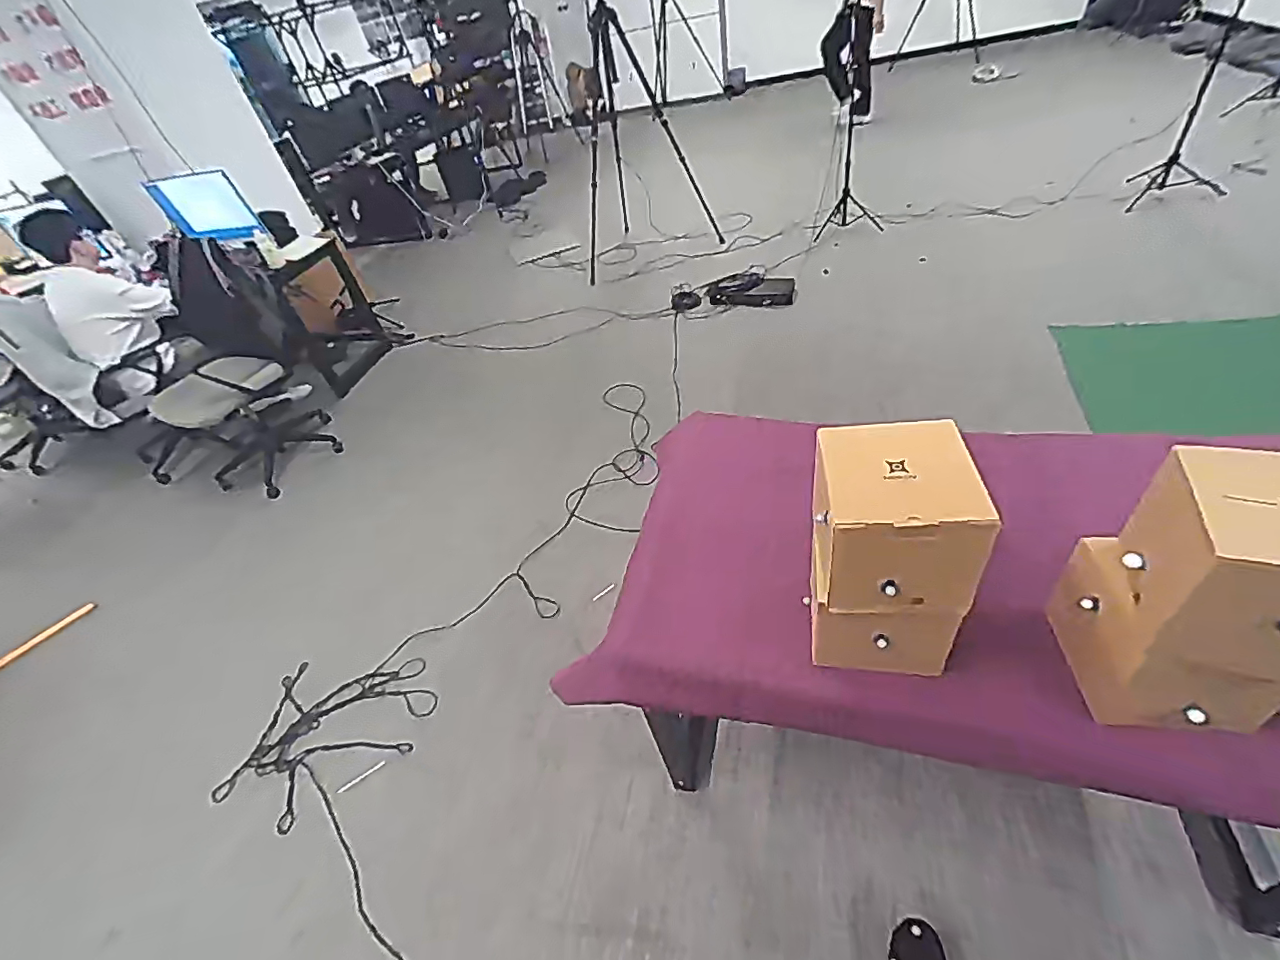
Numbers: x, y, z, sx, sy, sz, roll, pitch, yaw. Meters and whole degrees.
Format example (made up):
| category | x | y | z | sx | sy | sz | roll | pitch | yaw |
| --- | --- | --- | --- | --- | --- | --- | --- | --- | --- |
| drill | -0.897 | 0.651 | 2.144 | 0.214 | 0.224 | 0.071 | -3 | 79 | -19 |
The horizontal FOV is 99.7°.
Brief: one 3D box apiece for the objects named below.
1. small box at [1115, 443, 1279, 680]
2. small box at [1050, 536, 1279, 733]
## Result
| category | x | y | z | sx | sy | sz | roll | pitch | yaw |
| --- | --- | --- | --- | --- | --- | --- | --- | --- | --- |
| small box | 0.636 | 0.086 | 0.551 | 0.179 | 0.176 | 0.168 | 8 | 46 | 25 |
| small box | 0.659 | 0.190 | 0.680 | 0.168 | 0.176 | 0.179 | -2 | 43 | 14 |
